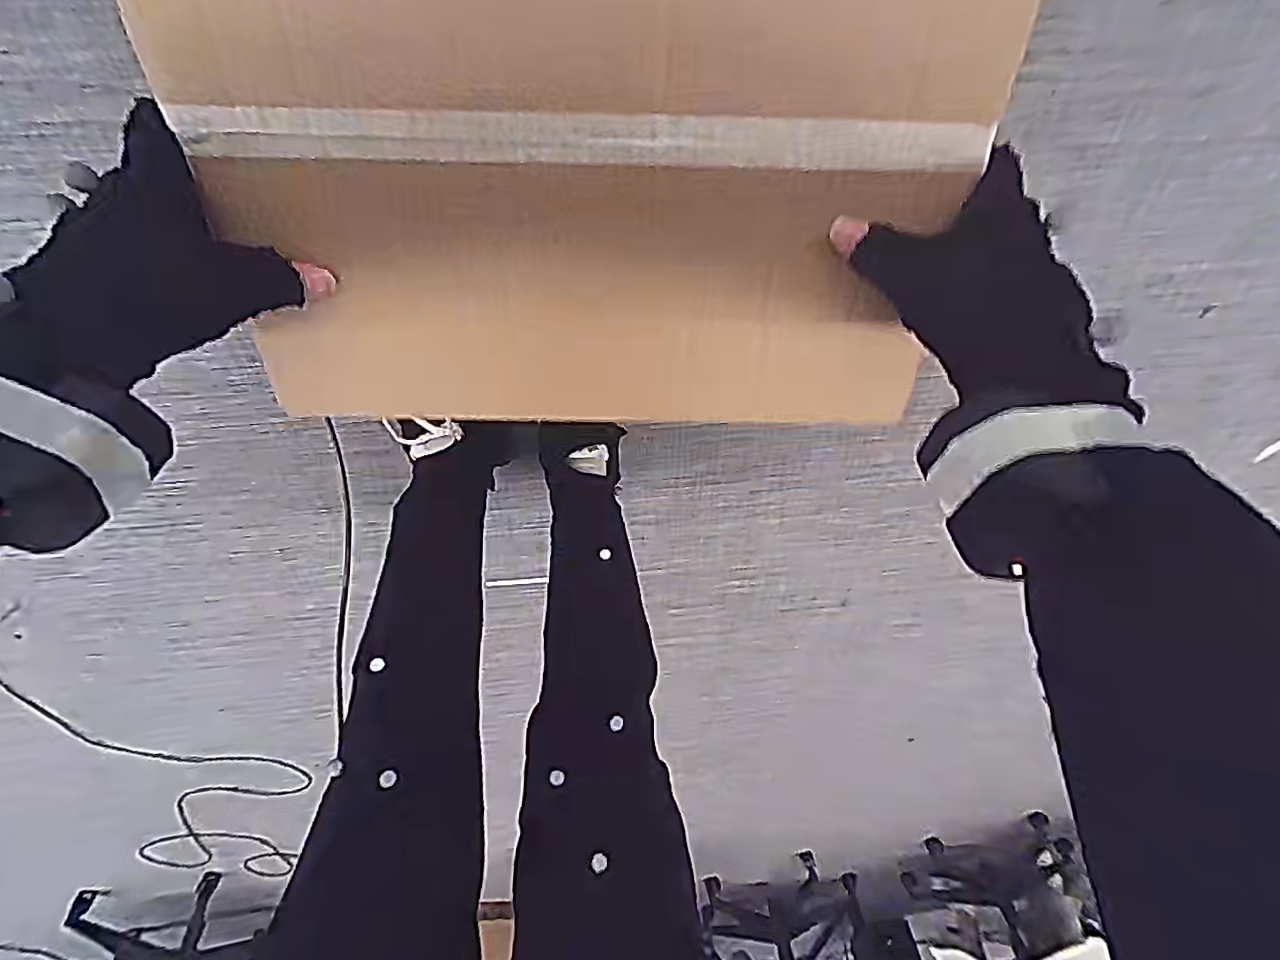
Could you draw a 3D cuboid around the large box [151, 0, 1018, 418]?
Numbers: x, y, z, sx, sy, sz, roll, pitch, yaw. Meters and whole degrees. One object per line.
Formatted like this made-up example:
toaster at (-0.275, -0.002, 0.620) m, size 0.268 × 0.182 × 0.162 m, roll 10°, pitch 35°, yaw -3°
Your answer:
large box at (-0.030, -0.253, 0.404) m, size 0.408 × 0.320 × 0.320 m, roll 0°, pitch 126°, yaw -2°
